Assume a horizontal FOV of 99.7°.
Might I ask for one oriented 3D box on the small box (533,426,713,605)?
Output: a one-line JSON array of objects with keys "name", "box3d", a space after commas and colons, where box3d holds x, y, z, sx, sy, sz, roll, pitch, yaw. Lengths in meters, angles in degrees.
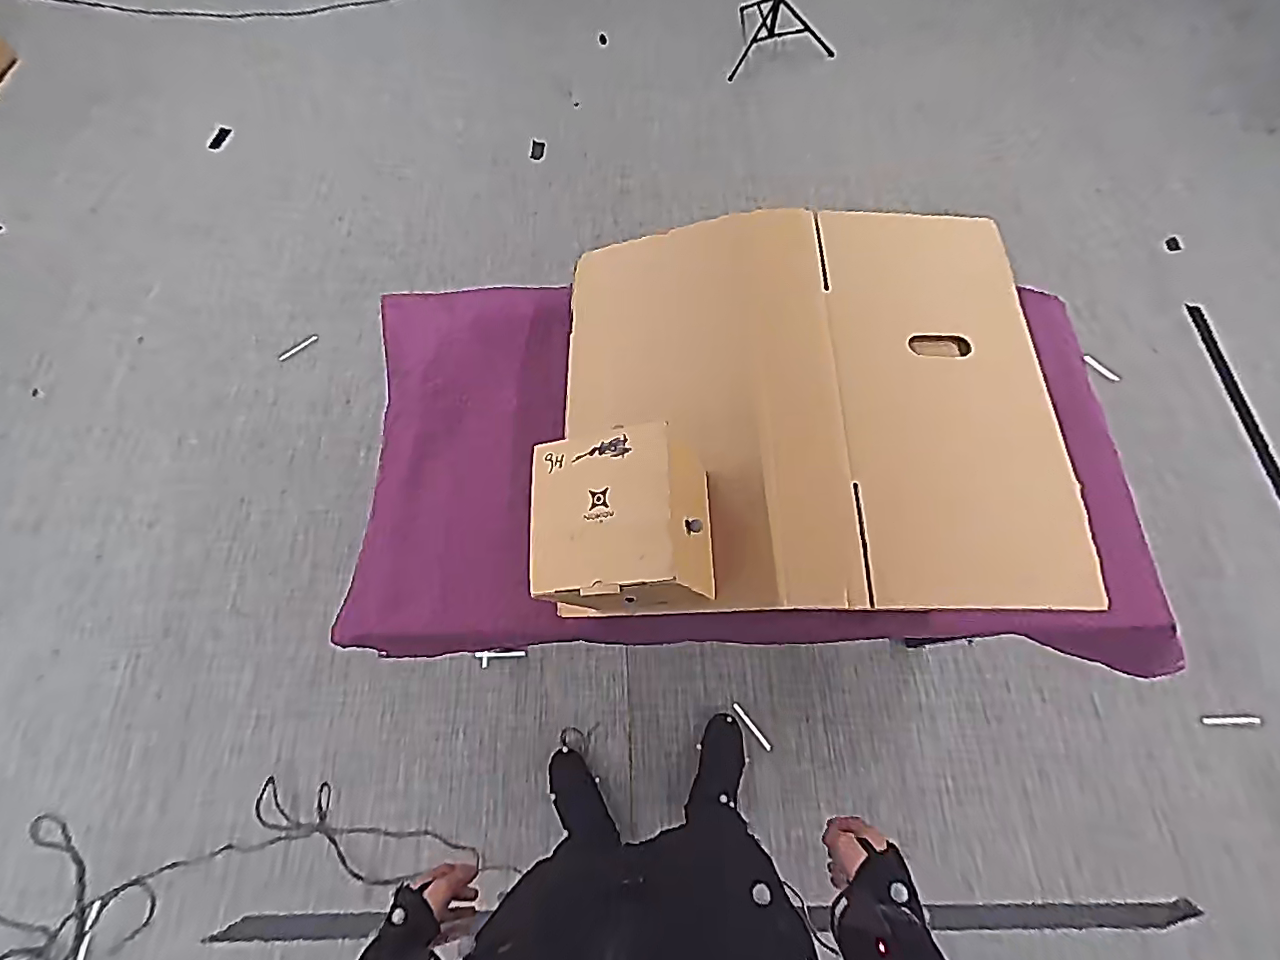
[{"name": "small box", "box3d": [-0.013, 0.056, 0.652, 0.168, 0.176, 0.179, -9, 70, 19]}]
